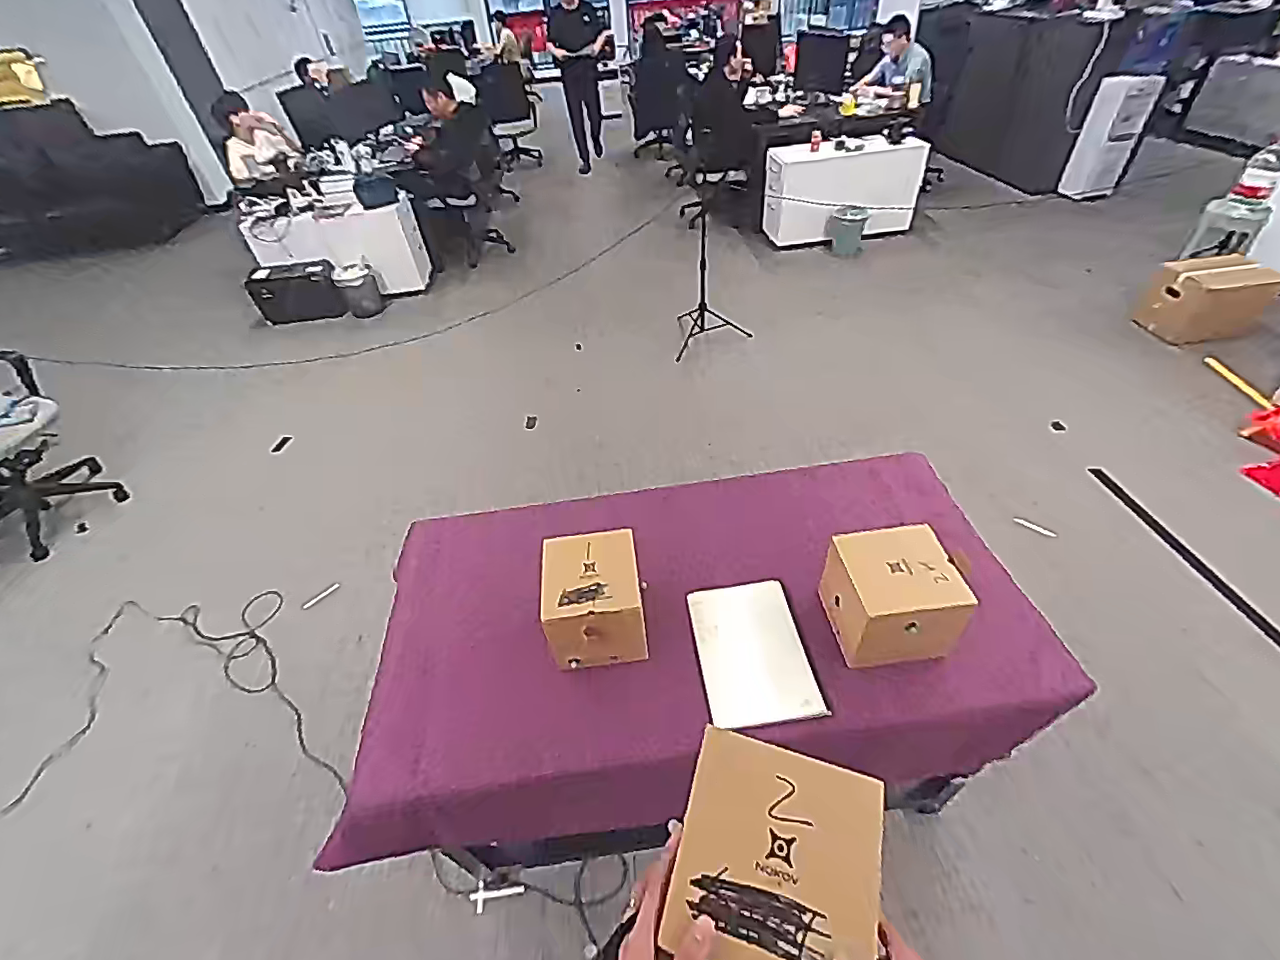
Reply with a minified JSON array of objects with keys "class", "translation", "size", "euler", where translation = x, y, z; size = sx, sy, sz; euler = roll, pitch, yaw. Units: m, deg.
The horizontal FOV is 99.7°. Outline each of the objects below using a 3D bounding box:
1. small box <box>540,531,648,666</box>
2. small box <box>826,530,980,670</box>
[{"class":"small box","translation":[-0.079,0.219,0.975],"size":[0.168,0.176,0.179],"euler":[-7,43,-1]},{"class":"small box","translation":[0.433,0.209,0.929],"size":[0.179,0.176,0.168],"euler":[-6,43,0]}]
